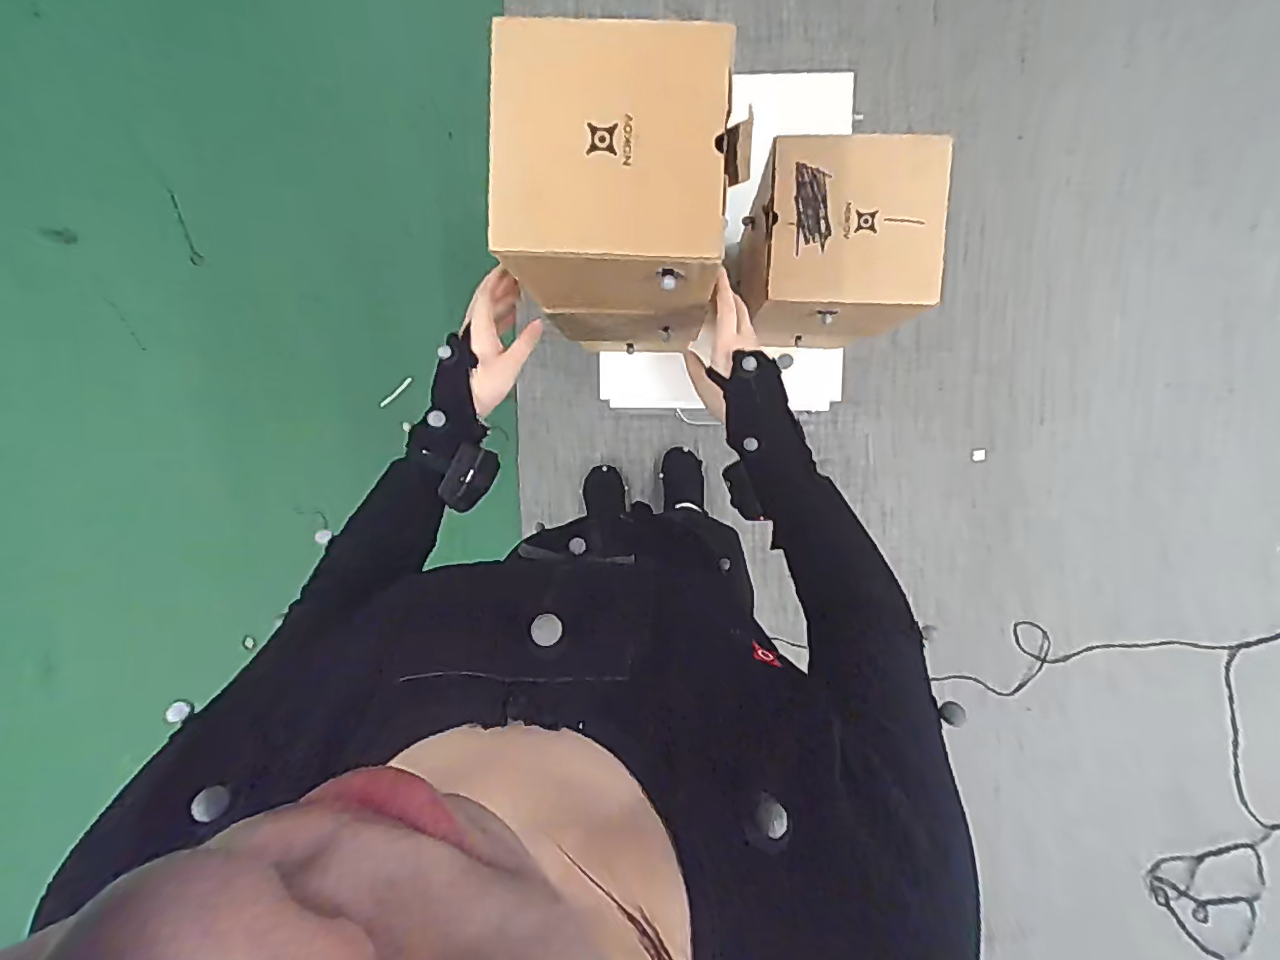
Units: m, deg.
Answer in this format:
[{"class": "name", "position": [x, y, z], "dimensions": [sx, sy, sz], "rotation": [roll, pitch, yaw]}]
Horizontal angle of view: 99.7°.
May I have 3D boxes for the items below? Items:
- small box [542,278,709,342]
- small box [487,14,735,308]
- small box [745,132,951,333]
[{"class": "small box", "position": [-0.015, -0.262, 0.635], "dimensions": [0.179, 0.176, 0.168], "rotation": [0, 93, 1]}, {"class": "small box", "position": [-0.020, -0.254, 0.471], "dimensions": [0.179, 0.176, 0.168], "rotation": [2, 94, 1]}, {"class": "small box", "position": [0.221, -0.268, 0.622], "dimensions": [0.179, 0.176, 0.168], "rotation": [3, 95, 2]}]
